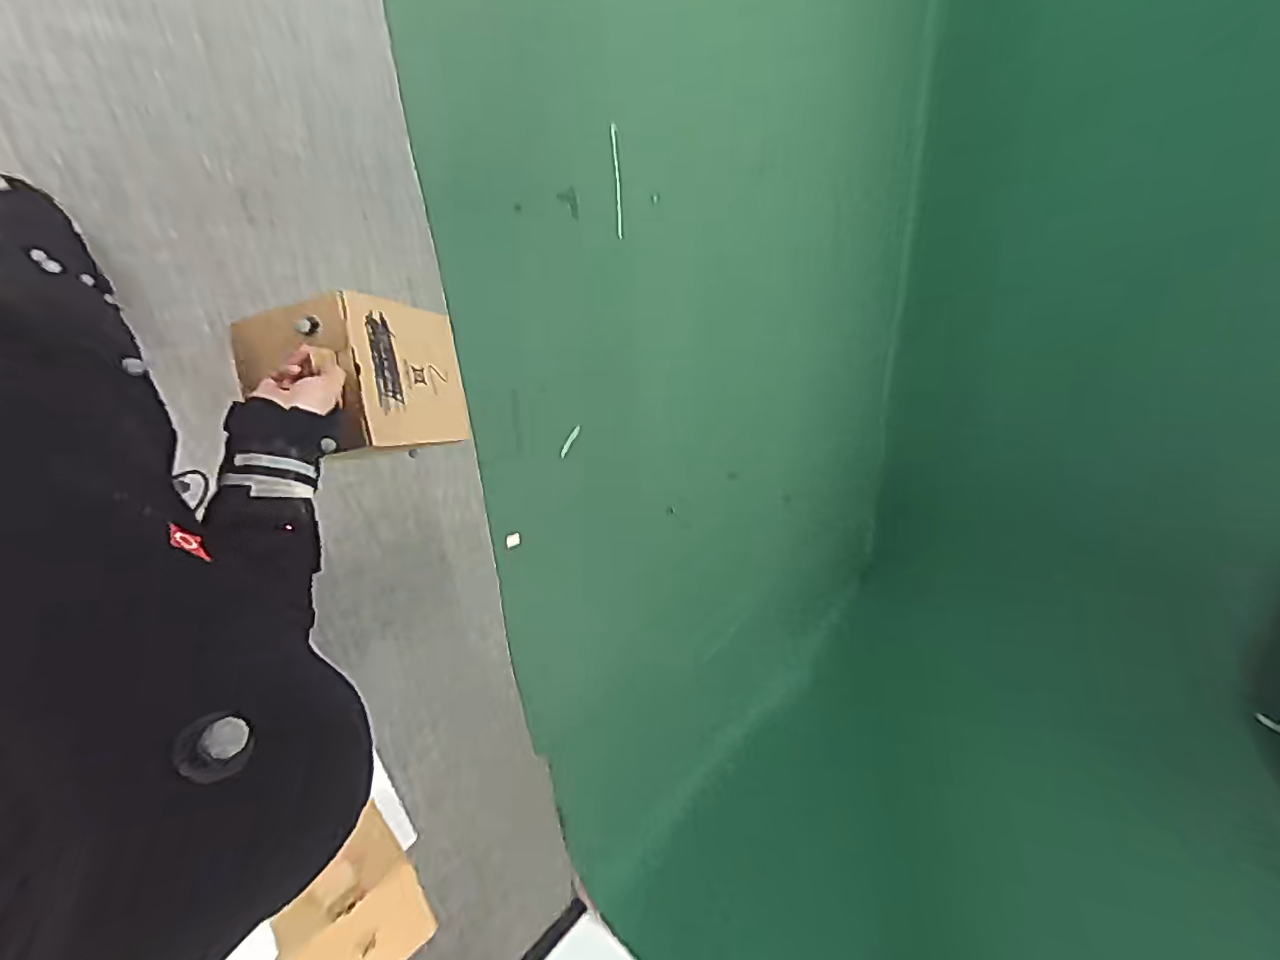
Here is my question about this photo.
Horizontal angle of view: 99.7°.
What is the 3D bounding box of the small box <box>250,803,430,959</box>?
[{"bbox_3d":[-0.441,0.632,0.800,0.168,0.176,0.179,-26,120,-39],"label":"small box"}]
